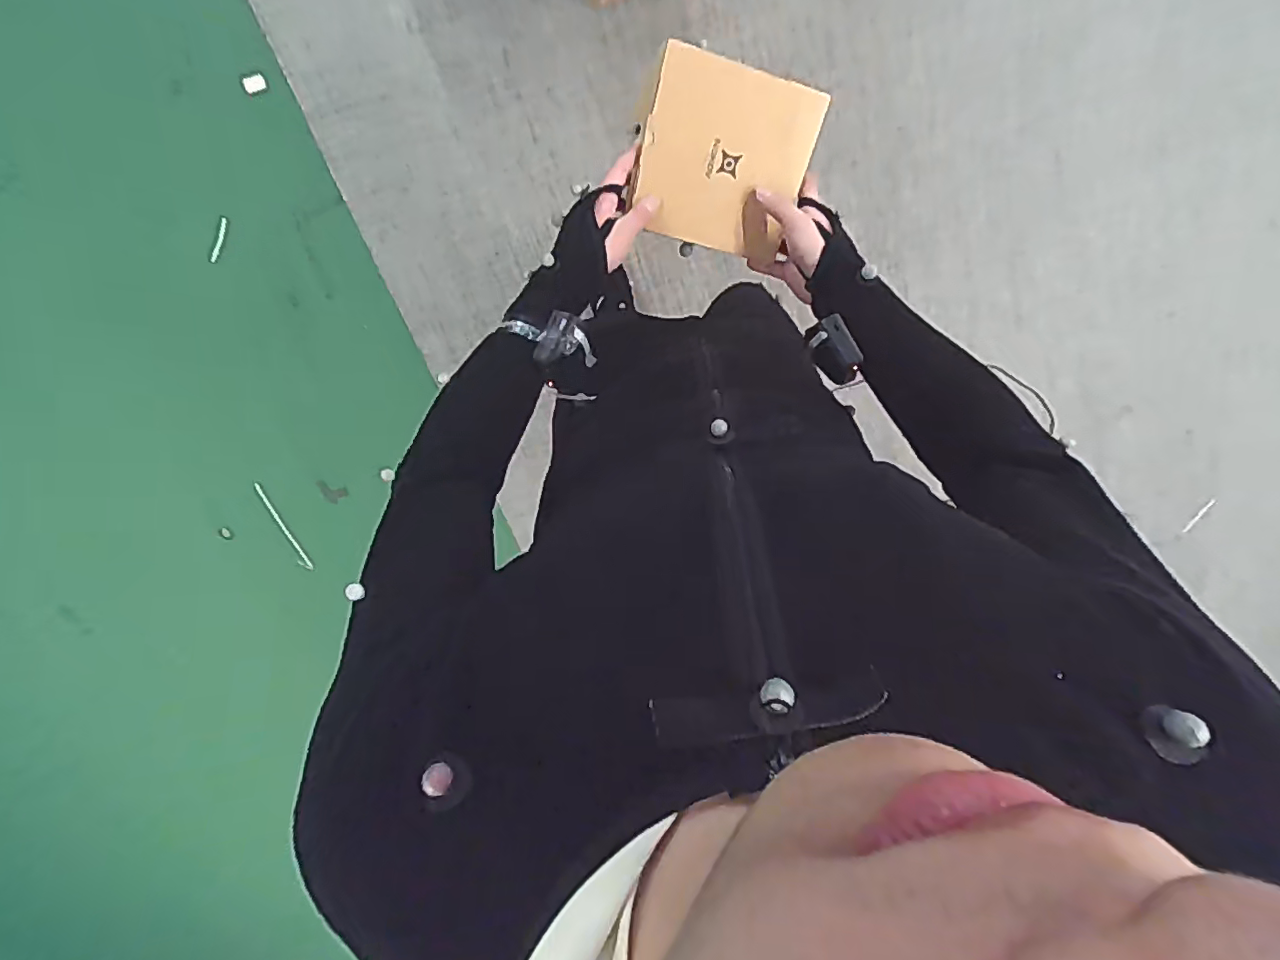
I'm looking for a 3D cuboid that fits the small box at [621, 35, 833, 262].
[{"bbox_3d":[0.082,-0.368,0.620,0.179,0.176,0.168,11,119,-10],"label":"small box"}]
